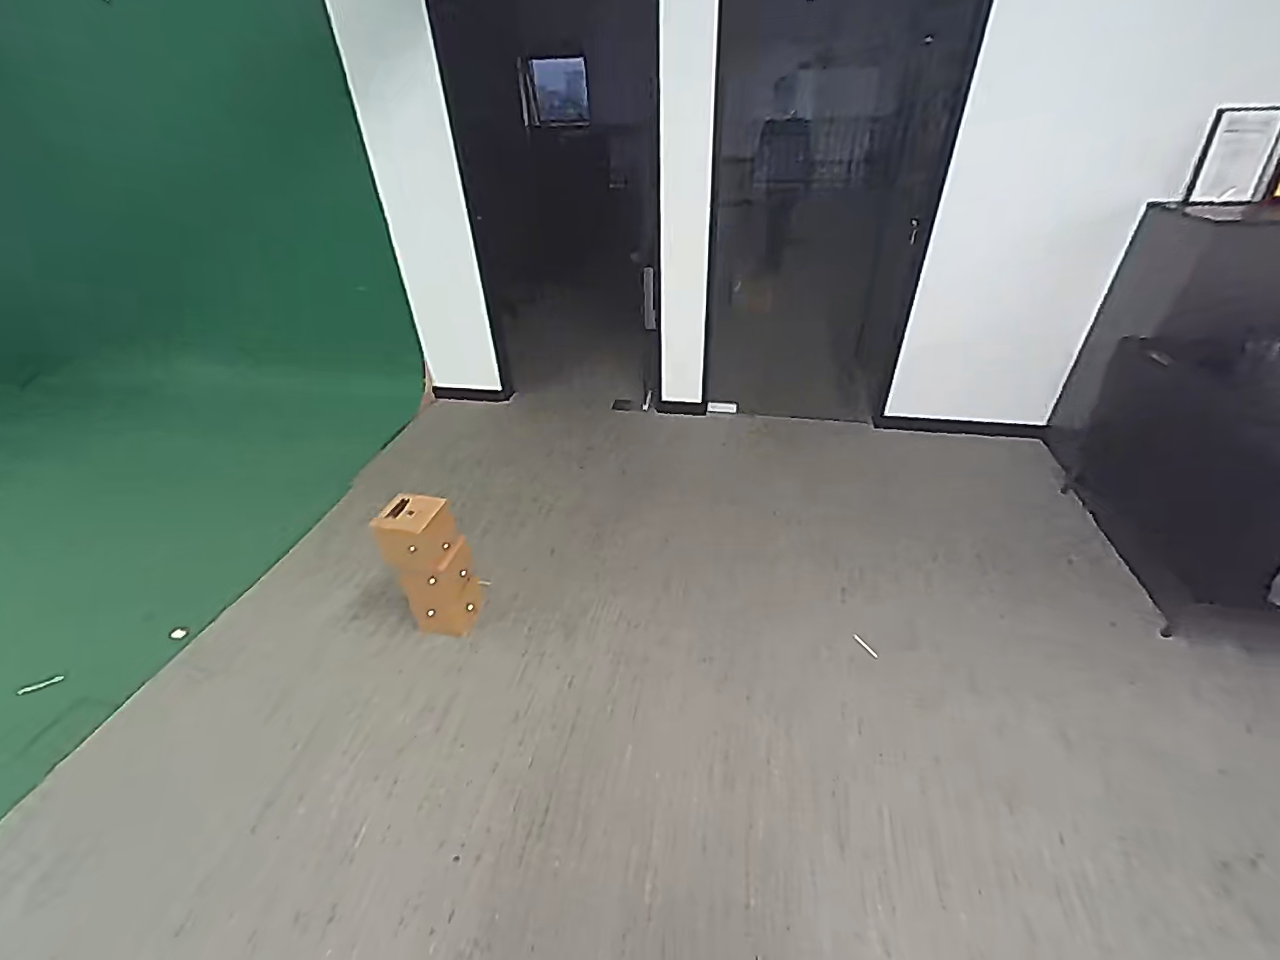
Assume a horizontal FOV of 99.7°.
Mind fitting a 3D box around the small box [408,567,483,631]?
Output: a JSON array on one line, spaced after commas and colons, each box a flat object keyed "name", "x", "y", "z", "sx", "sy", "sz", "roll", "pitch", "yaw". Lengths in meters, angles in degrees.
[{"name": "small box", "x": -0.674, "y": 0.410, "z": 1.901, "sx": 0.179, "sy": 0.176, "sz": 0.168, "roll": 4, "pitch": 38, "yaw": 9}]

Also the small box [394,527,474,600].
[{"name": "small box", "x": -0.676, "y": 0.280, "z": 1.800, "sx": 0.179, "sy": 0.176, "sz": 0.168, "roll": 5, "pitch": 37, "yaw": 9}]
